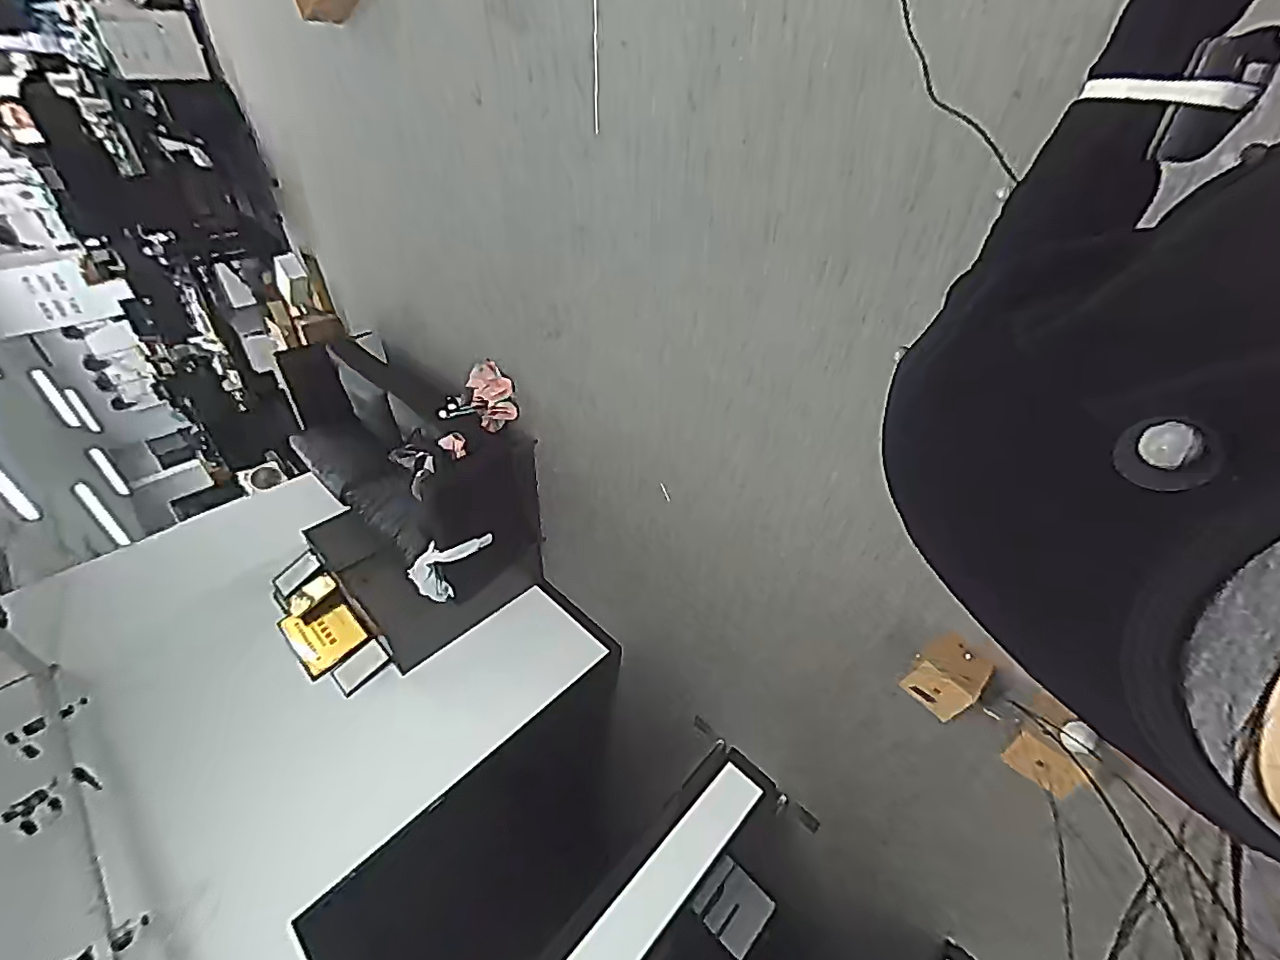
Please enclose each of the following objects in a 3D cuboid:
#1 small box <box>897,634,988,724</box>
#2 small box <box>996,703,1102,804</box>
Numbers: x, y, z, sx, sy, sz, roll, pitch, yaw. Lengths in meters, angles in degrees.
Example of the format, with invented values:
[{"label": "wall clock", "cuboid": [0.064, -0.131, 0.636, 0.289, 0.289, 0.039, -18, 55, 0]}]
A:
[{"label": "small box", "cuboid": [0.963, 0.630, 1.718, 0.168, 0.176, 0.179, 40, 139, 24]}, {"label": "small box", "cuboid": [1.181, 0.777, 1.562, 0.179, 0.176, 0.168, 32, 136, 31]}]
